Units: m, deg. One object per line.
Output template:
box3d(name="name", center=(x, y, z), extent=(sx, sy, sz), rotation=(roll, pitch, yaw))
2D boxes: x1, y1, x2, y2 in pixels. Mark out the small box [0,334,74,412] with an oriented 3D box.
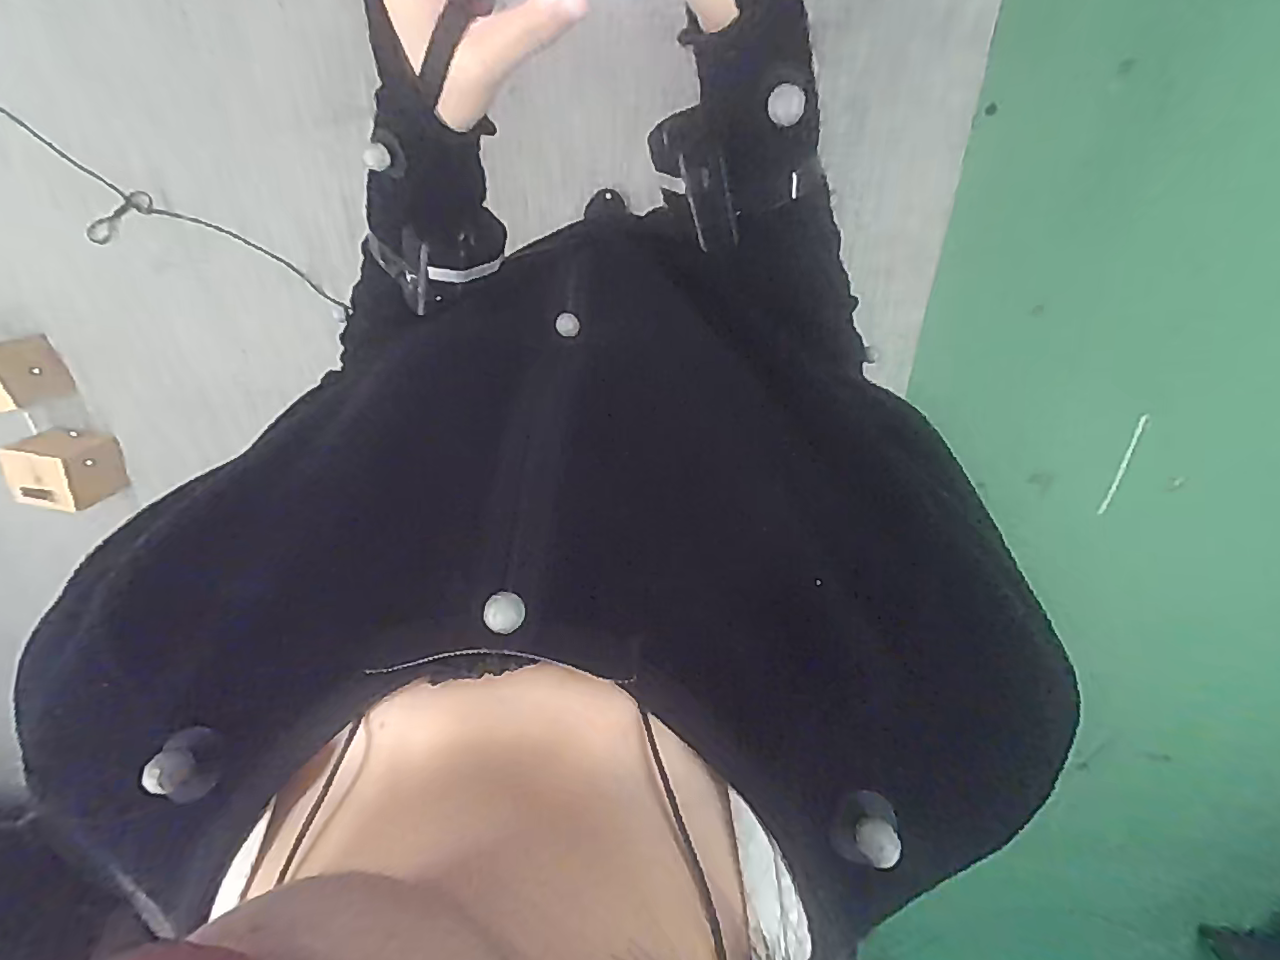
box3d(name="small box", center=(-1.673, -0.283, 1.428), extent=(0.179, 0.176, 0.168), rotation=(-5, 117, 5))
